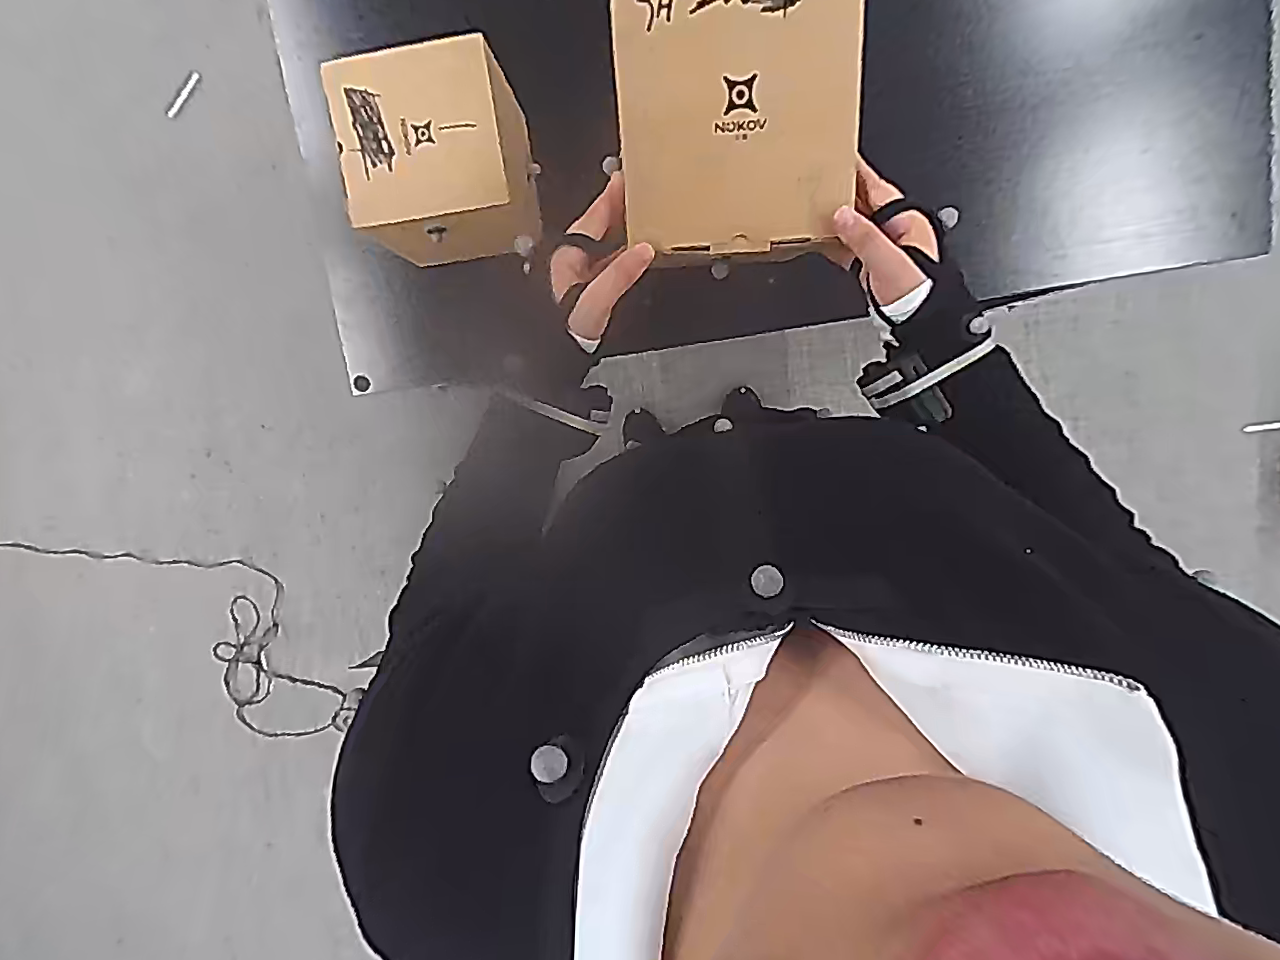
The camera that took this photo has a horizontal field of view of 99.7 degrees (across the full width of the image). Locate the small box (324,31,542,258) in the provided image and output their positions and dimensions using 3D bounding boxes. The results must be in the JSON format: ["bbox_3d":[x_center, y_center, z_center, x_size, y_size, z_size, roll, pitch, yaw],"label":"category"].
[{"bbox_3d":[-0.228,-0.376,0.641,0.179,0.176,0.168,-7,99,3],"label":"small box"}]

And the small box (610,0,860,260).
[{"bbox_3d":[0.066,-0.282,0.452,0.168,0.176,0.179,-4,109,0],"label":"small box"}]
